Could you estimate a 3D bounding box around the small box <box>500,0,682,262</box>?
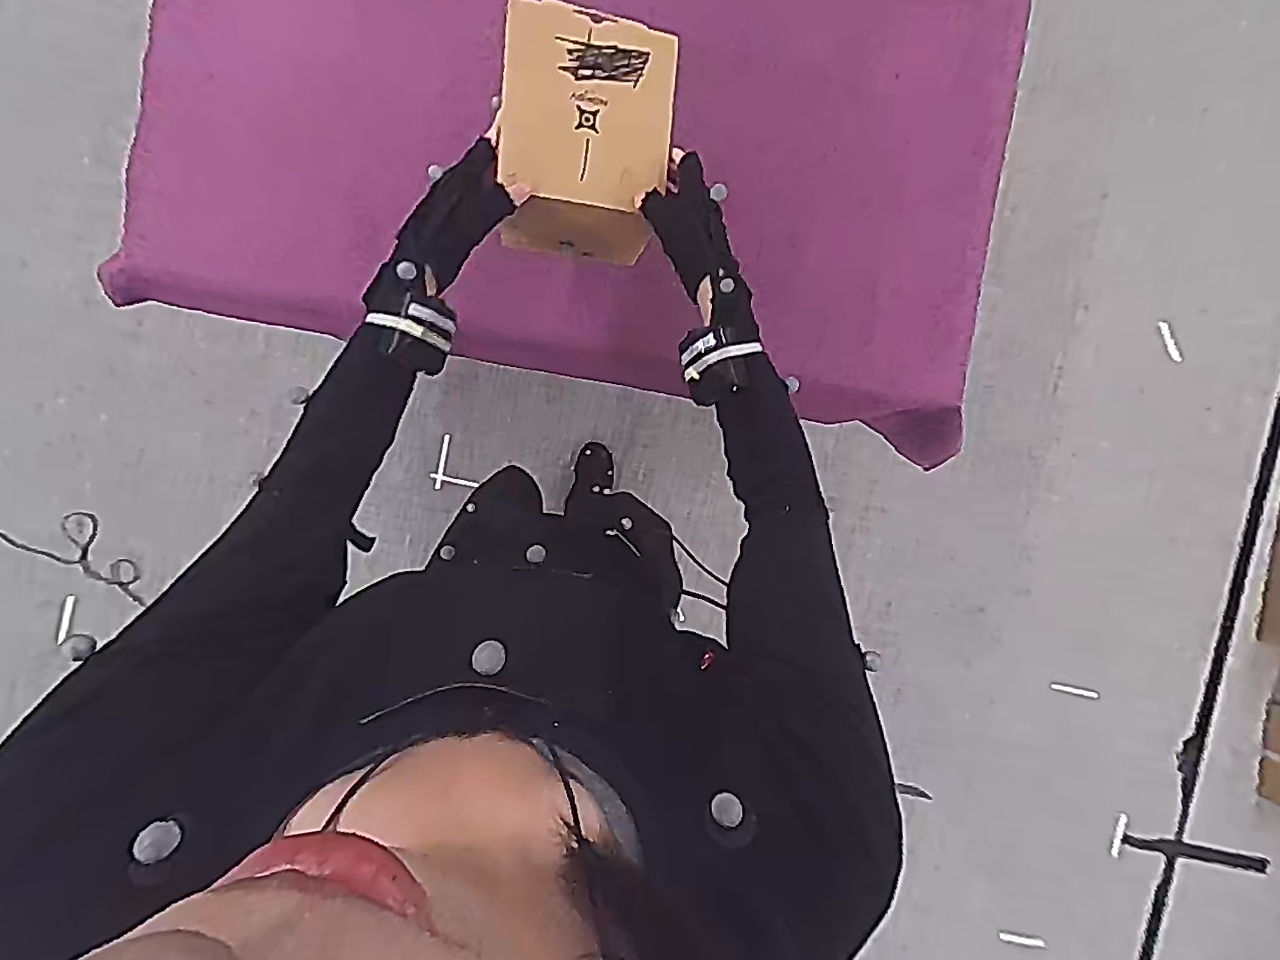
[{"bbox_3d":[-0.062,-0.365,0.598,0.168,0.176,0.179,4,95,-12],"label":"small box"}]
